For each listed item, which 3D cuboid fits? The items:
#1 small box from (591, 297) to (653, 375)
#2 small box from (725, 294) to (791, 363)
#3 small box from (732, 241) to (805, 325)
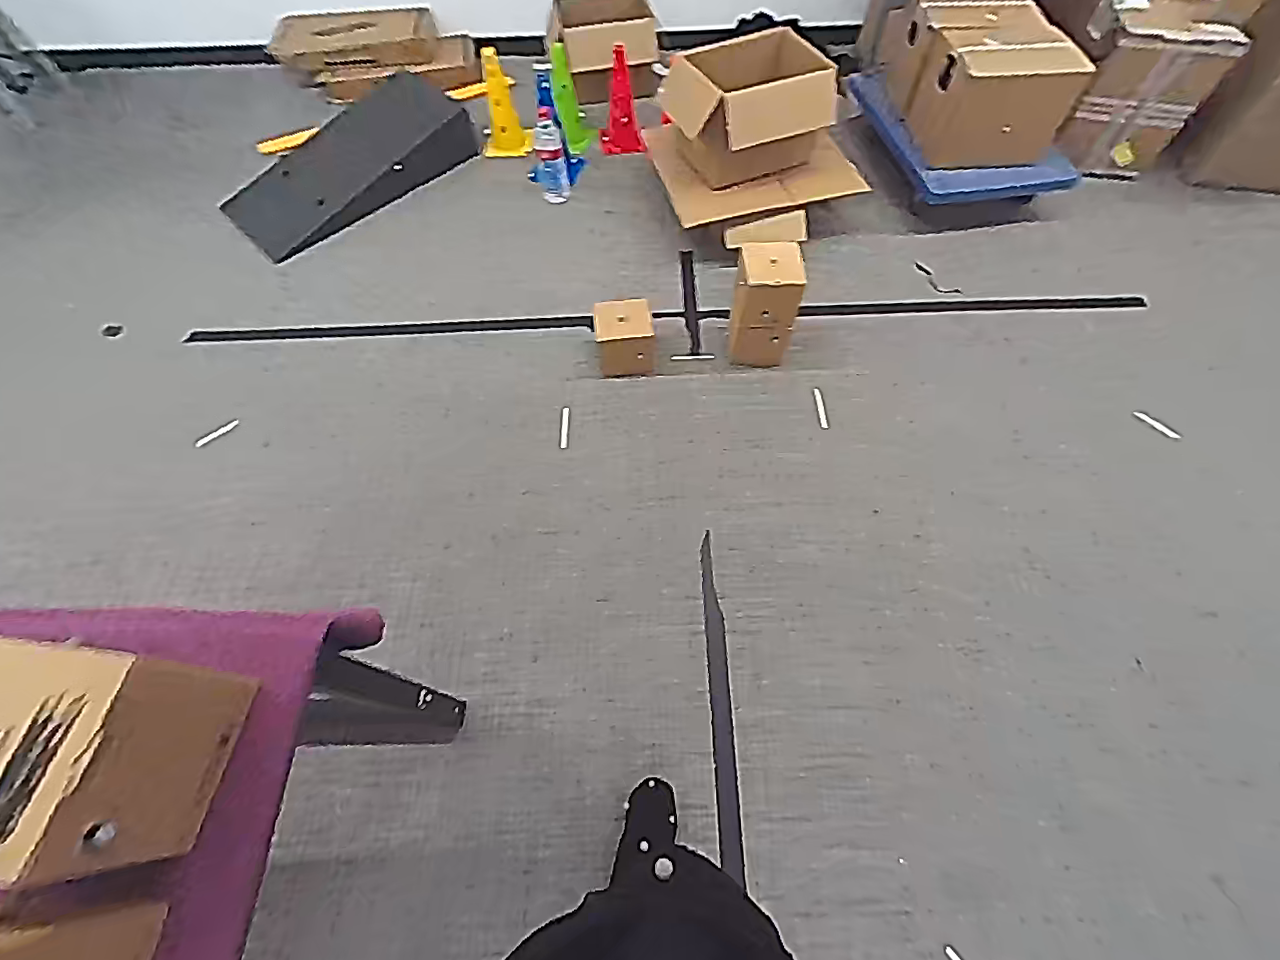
[{"bbox_3d":[-0.056,-0.456,1.729,0.179,0.176,0.168,-7,60,-2],"label":"small box"},{"bbox_3d":[0.374,-0.494,1.743,0.179,0.176,0.168,2,61,1],"label":"small box"},{"bbox_3d":[0.373,-0.584,1.607,0.168,0.176,0.179,-2,62,-1],"label":"small box"}]
